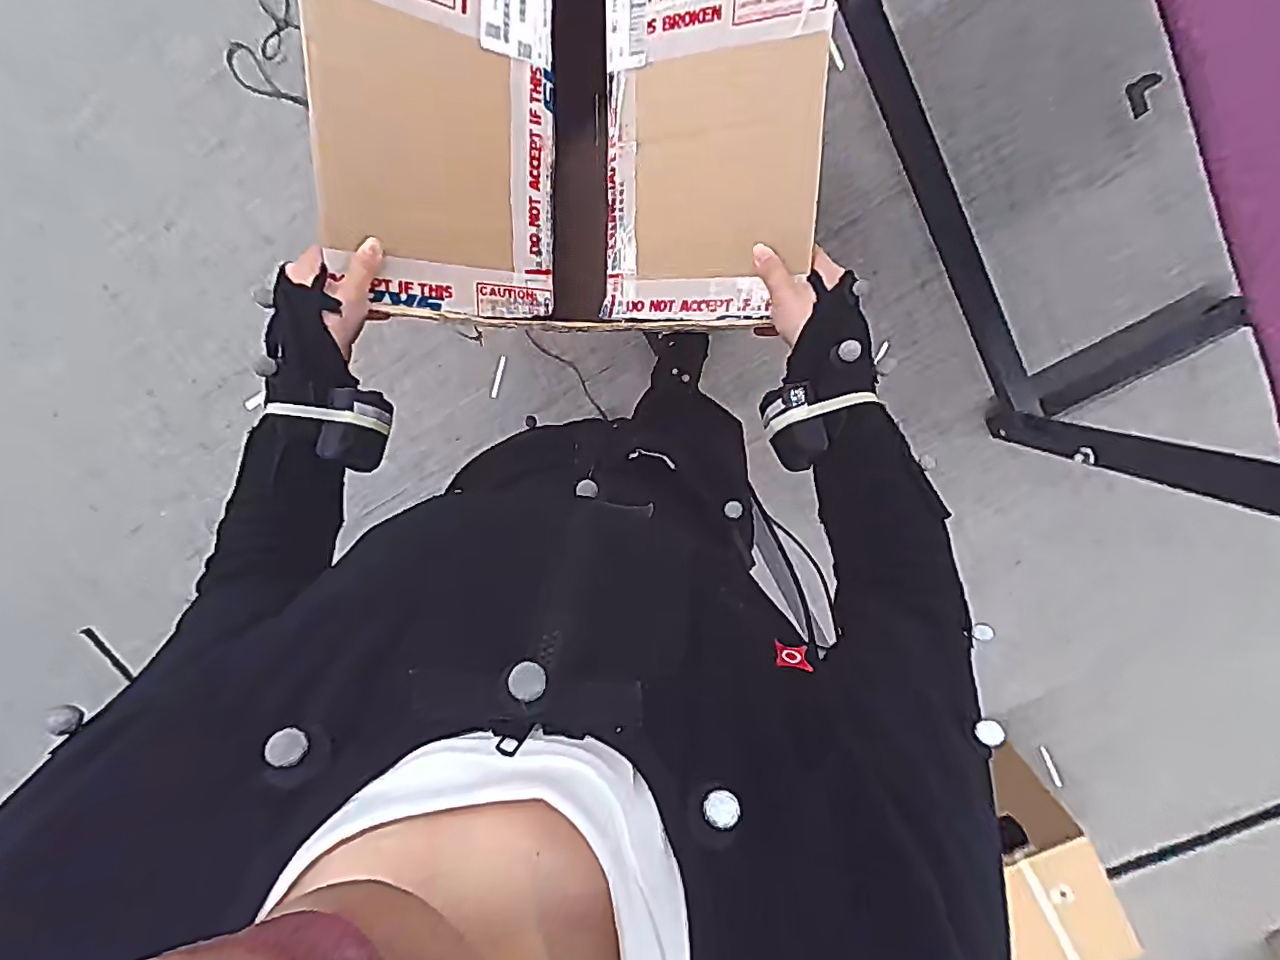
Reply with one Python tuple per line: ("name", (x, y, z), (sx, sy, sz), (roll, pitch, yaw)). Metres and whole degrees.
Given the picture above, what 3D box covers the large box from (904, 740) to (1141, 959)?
("large box", (0.984, 1.000, 1.436), (0.320, 0.320, 0.408), (-30, 100, 9))
